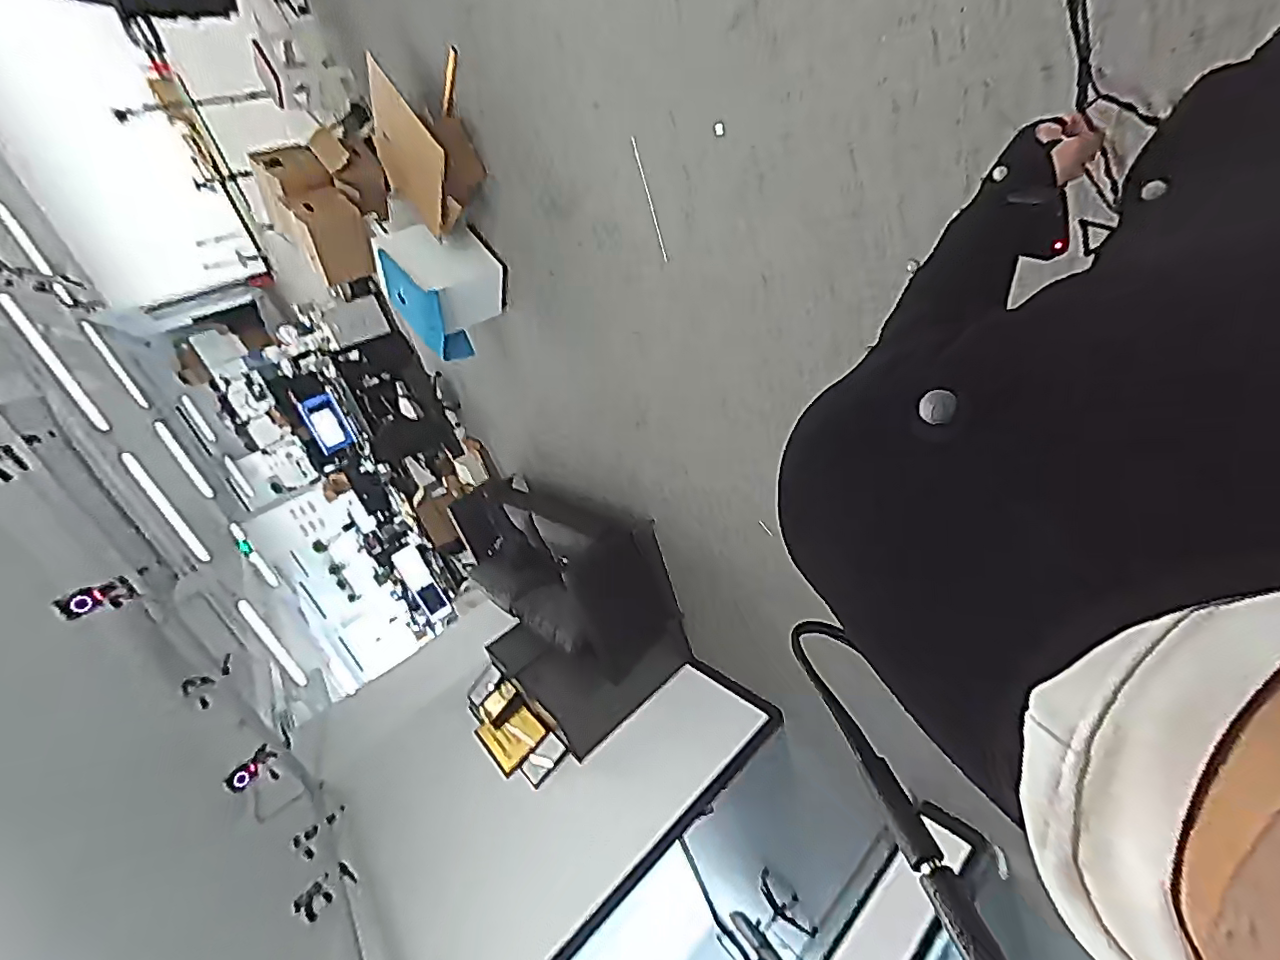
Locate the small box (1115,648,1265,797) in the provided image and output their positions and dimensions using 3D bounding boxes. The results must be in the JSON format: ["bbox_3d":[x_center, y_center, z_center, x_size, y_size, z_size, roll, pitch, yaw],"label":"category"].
[{"bbox_3d":[1.113,0.483,1.097,0.168,0.176,0.179,23,137,45],"label":"small box"}]
